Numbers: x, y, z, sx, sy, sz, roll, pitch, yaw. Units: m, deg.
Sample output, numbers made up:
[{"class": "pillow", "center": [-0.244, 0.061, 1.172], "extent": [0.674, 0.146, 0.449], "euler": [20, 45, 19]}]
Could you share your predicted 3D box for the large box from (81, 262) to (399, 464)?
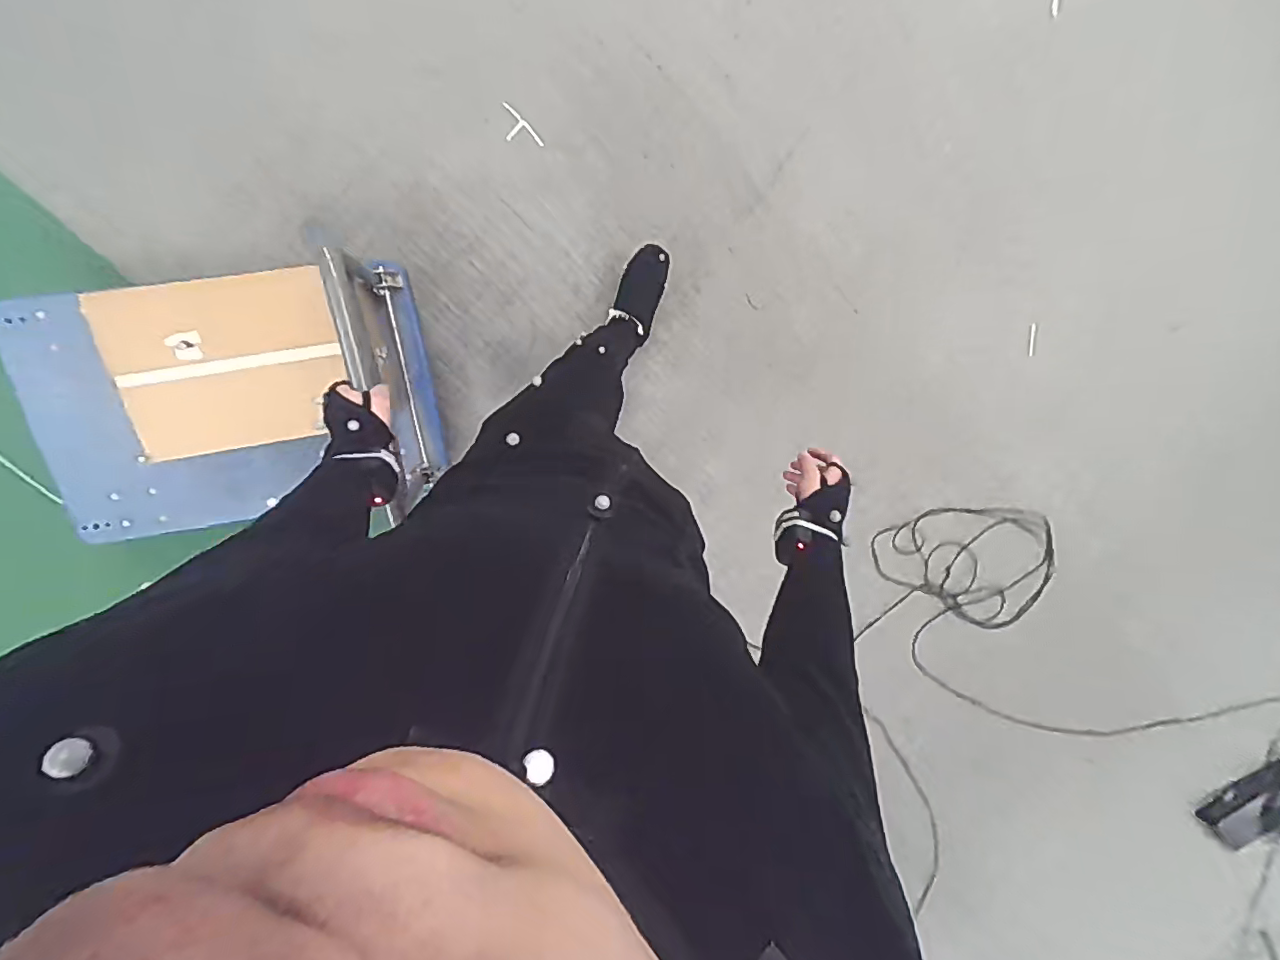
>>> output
[{"class": "large box", "center": [-0.789, -0.255, 1.152], "extent": [0.408, 0.320, 0.320], "euler": [-12, 106, -9]}]
